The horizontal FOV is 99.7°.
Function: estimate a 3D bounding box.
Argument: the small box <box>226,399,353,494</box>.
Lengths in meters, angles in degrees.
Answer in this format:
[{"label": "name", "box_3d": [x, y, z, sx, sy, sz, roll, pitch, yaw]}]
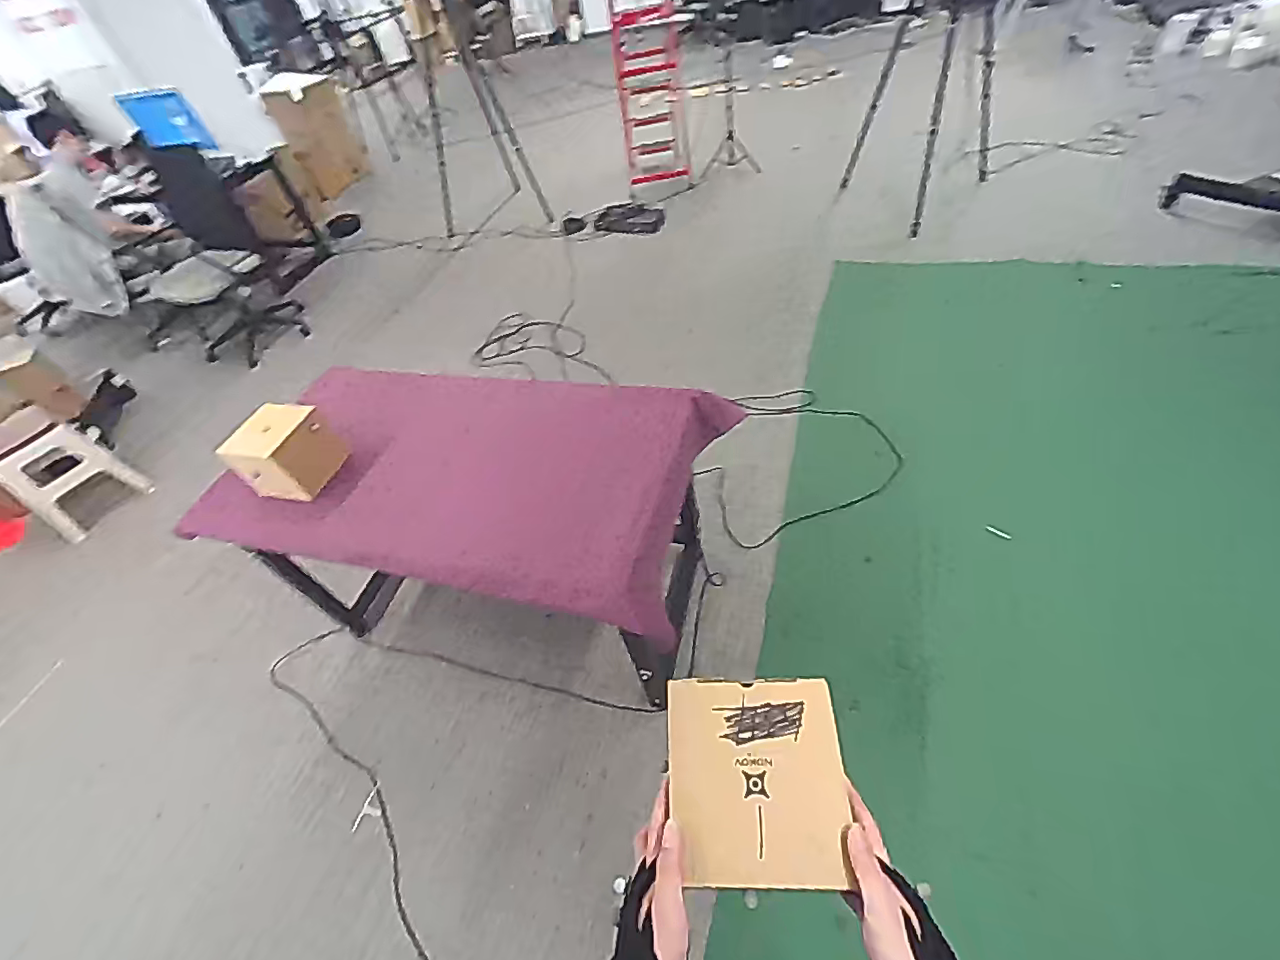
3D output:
[{"label": "small box", "box_3d": [-0.874, -0.083, 1.369, 0.168, 0.176, 0.179, 6, 50, 17]}]

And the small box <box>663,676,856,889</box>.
[{"label": "small box", "box_3d": [0.109, 0.321, 0.573, 0.168, 0.176, 0.179, -3, 55, 5]}]
